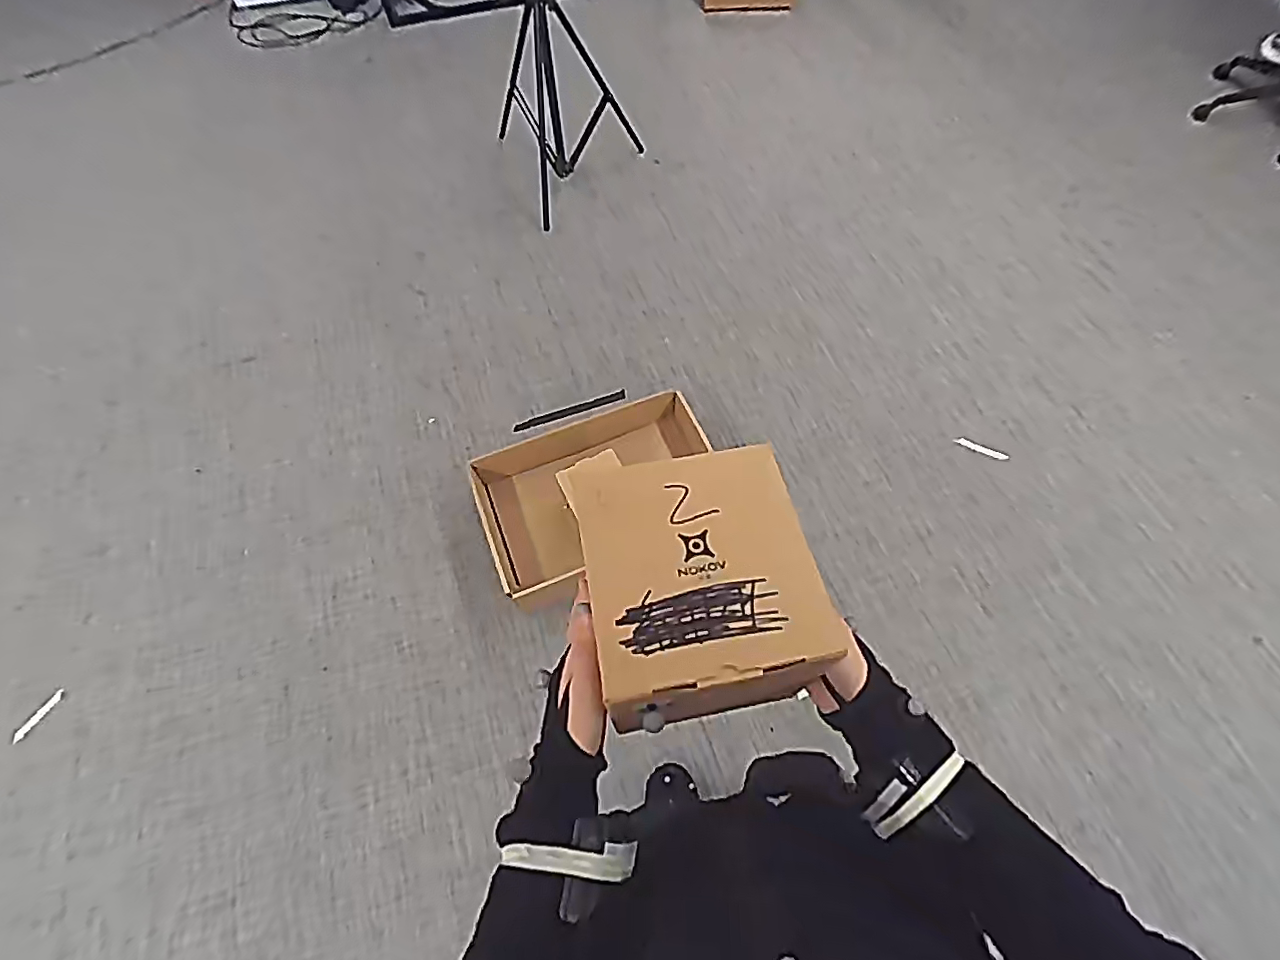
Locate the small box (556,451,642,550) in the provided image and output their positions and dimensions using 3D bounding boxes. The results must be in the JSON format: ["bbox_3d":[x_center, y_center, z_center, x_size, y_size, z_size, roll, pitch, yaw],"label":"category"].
[{"bbox_3d":[-0.106,0.058,1.432,0.168,0.176,0.179,-26,68,-11],"label":"small box"}]
